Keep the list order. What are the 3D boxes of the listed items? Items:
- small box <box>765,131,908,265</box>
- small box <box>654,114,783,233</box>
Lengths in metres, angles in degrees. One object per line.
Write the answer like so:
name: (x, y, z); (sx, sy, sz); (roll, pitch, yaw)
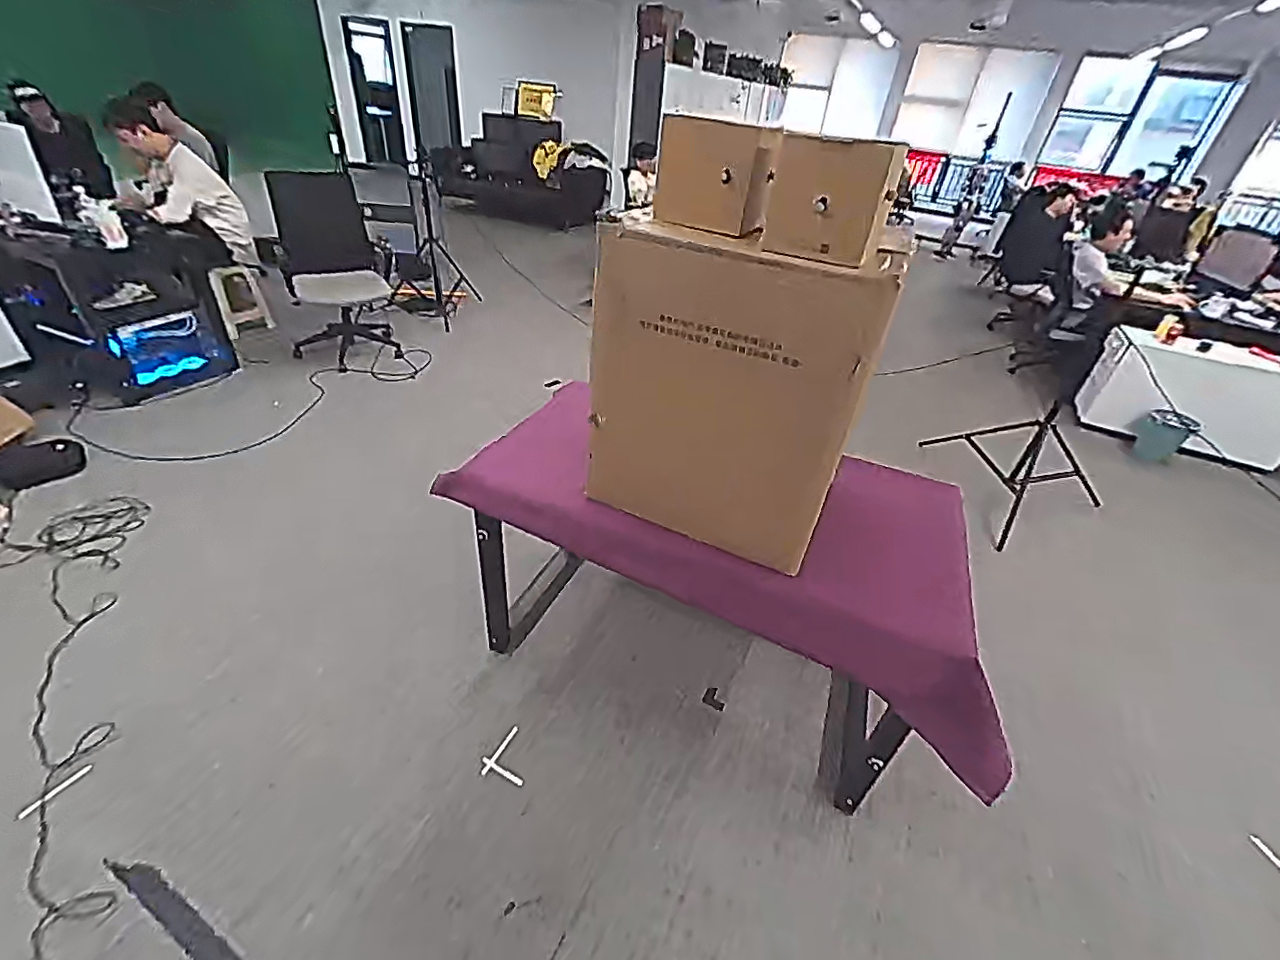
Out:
small box: (0.314, -0.461, 0.880); (0.168, 0.176, 0.179); (20, 38, 20)
small box: (0.140, -0.558, 0.988); (0.179, 0.176, 0.168); (19, 37, 18)
